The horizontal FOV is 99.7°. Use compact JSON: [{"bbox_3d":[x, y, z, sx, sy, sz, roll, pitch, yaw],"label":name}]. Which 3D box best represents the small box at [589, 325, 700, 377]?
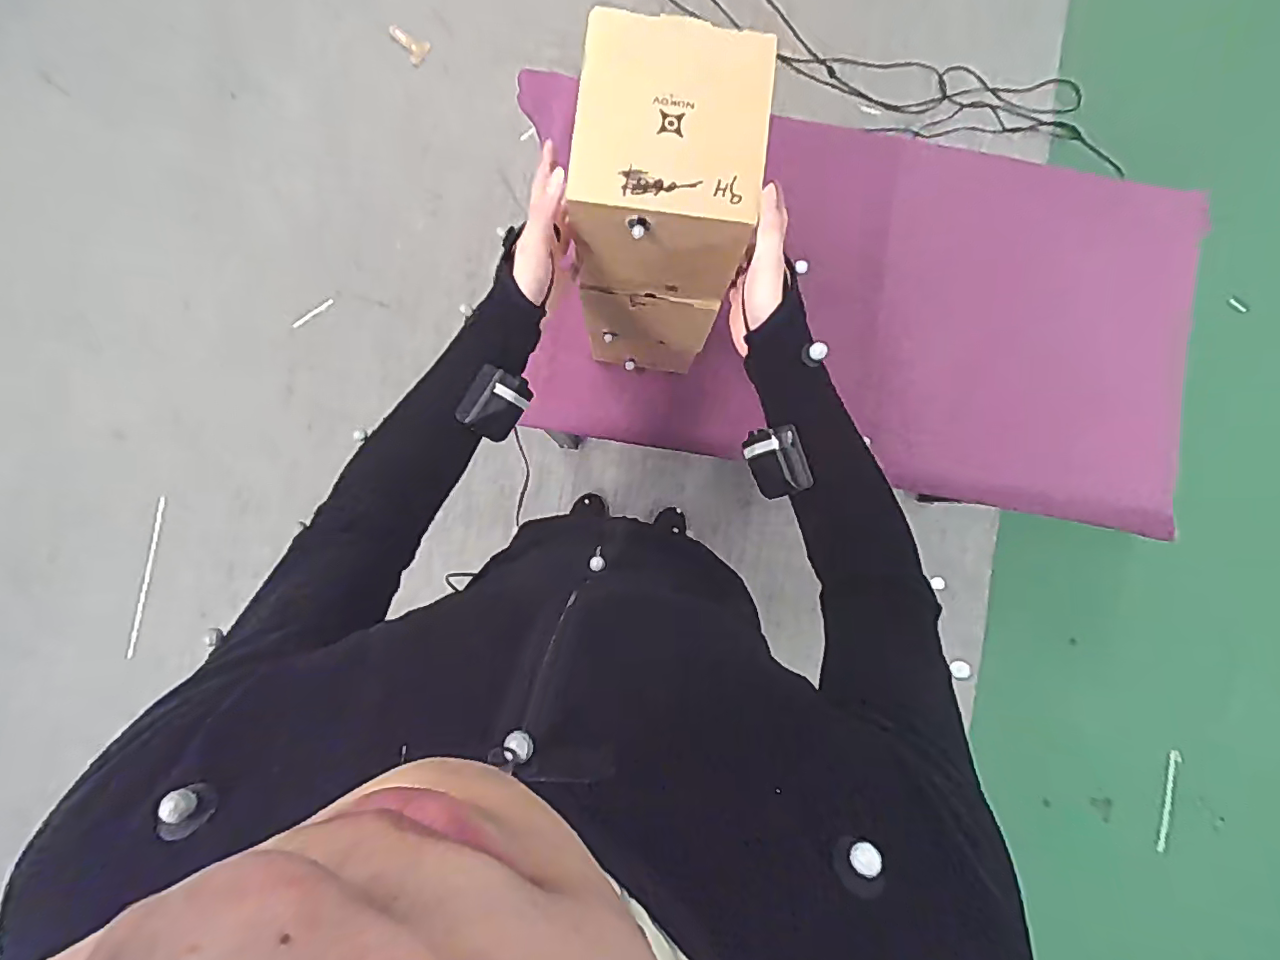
[{"bbox_3d":[0.015,-0.280,0.865,0.168,0.176,0.179,8,87,-1],"label":"small box"}]

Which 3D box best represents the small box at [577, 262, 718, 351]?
[{"bbox_3d":[0.019,-0.281,0.701,0.168,0.176,0.179,8,85,-1],"label":"small box"}]

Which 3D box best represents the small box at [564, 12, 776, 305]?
[{"bbox_3d":[0.025,-0.300,0.538,0.168,0.176,0.179,7,85,0],"label":"small box"}]
